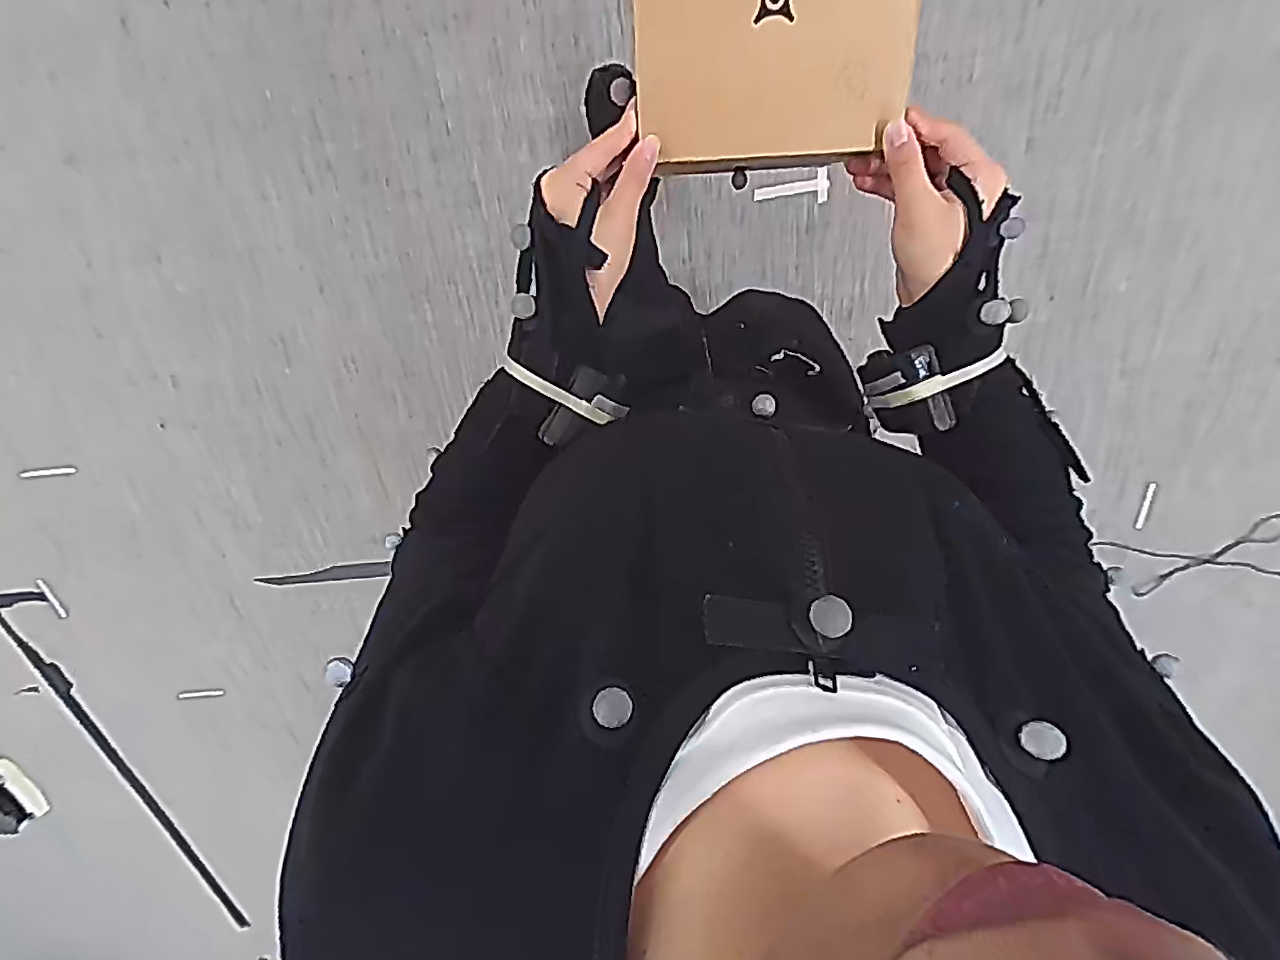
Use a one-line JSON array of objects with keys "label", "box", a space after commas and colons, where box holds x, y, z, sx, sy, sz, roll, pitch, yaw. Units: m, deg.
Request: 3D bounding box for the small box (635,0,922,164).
[{"label": "small box", "box": [0.081, -0.323, 0.372, 0.168, 0.176, 0.179, -2, 116, 2]}]
